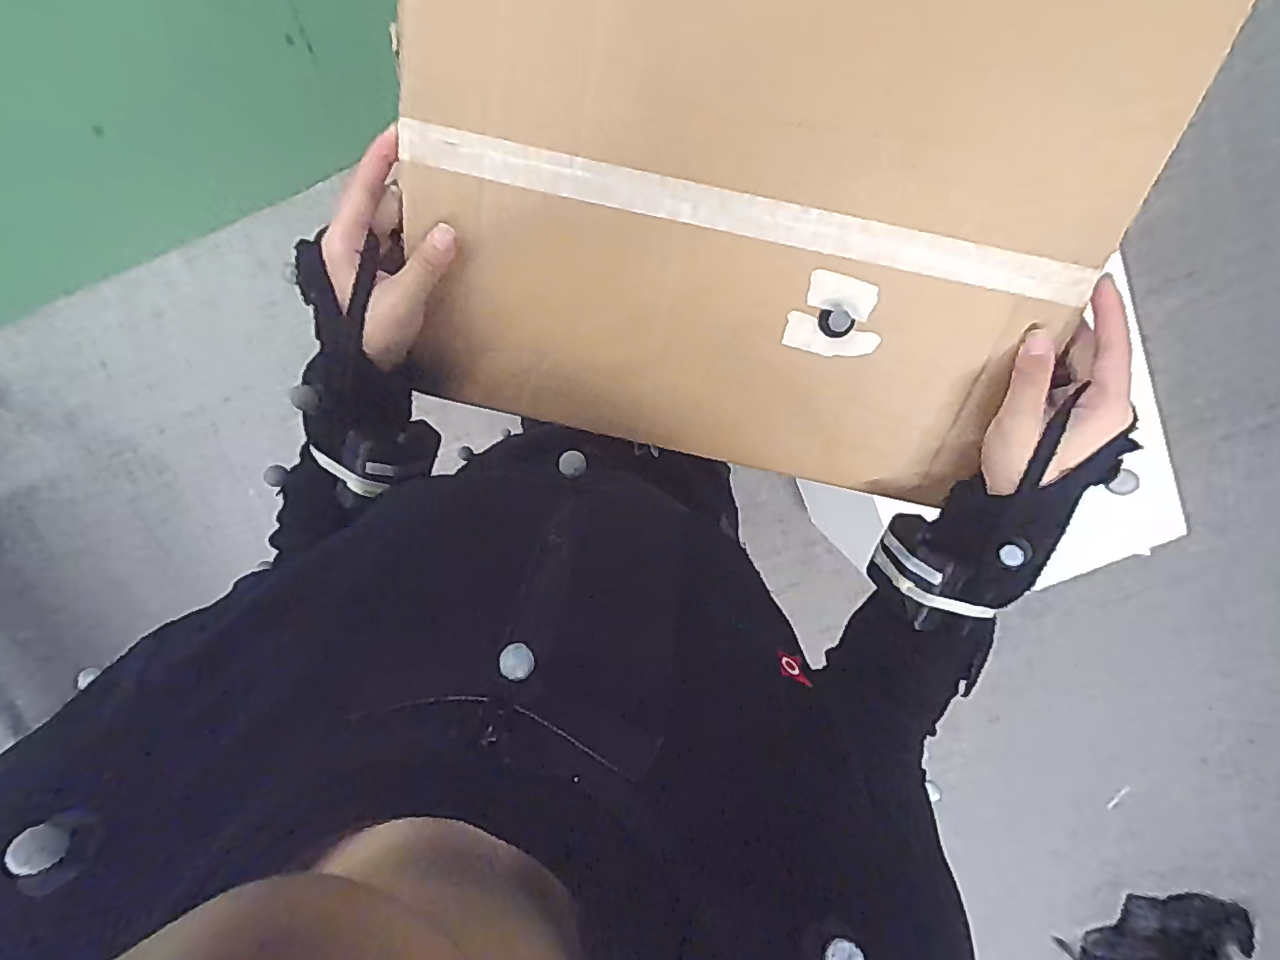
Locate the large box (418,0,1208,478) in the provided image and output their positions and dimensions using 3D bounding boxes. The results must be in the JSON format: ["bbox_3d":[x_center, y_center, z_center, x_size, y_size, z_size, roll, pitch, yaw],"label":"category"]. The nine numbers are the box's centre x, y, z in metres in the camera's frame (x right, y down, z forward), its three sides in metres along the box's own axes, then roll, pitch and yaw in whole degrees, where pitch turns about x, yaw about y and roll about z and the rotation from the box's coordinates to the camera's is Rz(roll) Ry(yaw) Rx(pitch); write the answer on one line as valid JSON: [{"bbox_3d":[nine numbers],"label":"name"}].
[{"bbox_3d":[0.074,-0.235,0.451,0.408,0.320,0.320,11,119,-1],"label":"large box"}]
